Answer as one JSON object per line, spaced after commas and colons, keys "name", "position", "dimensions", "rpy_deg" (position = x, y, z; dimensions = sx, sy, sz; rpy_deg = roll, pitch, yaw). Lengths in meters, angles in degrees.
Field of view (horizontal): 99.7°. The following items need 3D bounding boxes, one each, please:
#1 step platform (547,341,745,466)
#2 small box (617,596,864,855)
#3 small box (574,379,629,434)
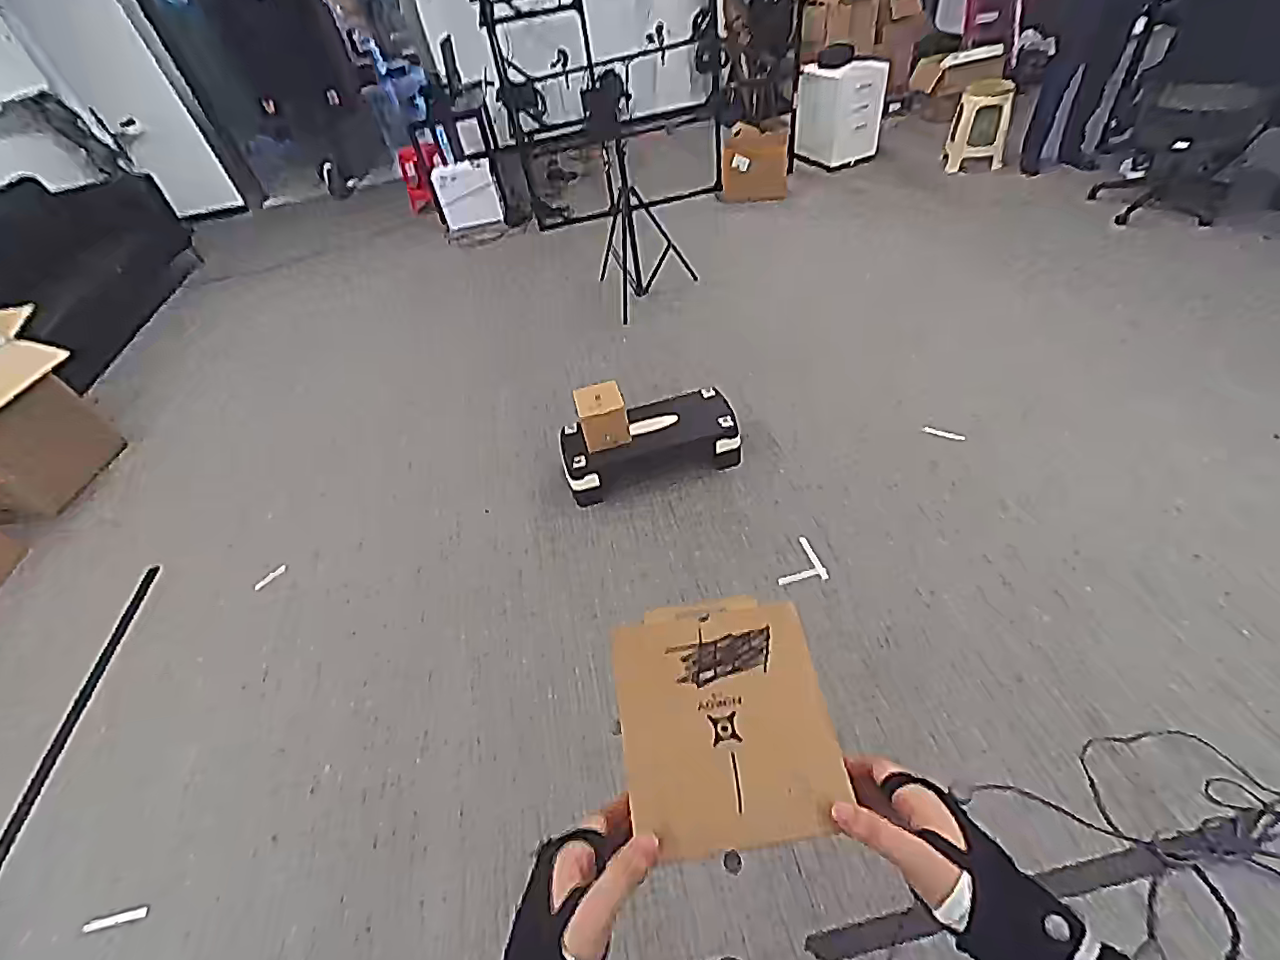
{"name": "step platform", "position": [0.023, -0.275, 1.945], "dimensions": [0.684, 0.204, 0.286], "rpy_deg": [-15, 45, -4]}
{"name": "small box", "position": [0.072, 0.228, 0.493], "dimensions": [0.168, 0.176, 0.179], "rpy_deg": [-8, 56, -2]}
{"name": "small box", "position": [-0.141, -0.240, 1.993], "dimensions": [0.168, 0.176, 0.179], "rpy_deg": [-15, 45, -4]}
